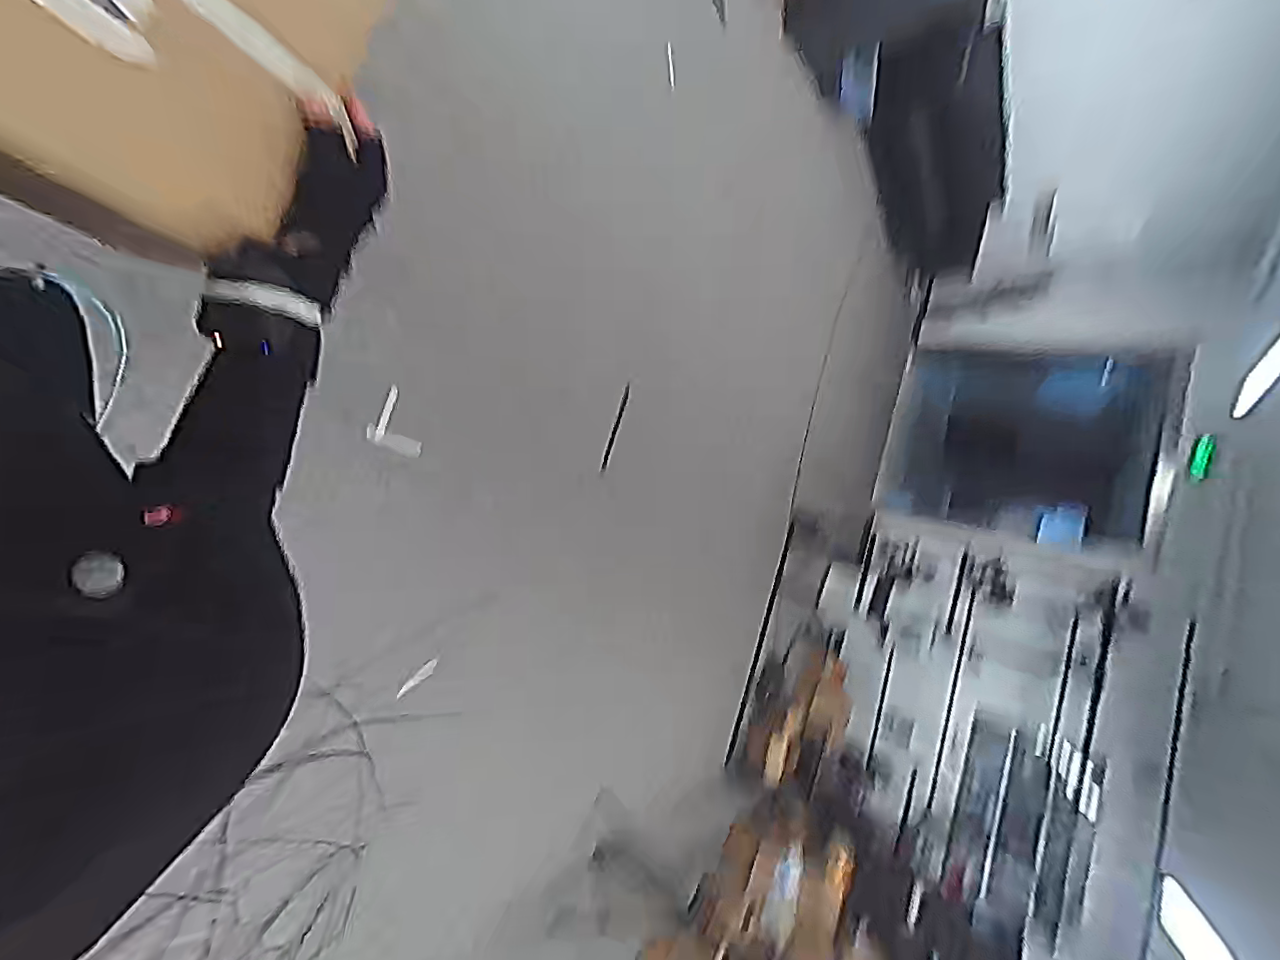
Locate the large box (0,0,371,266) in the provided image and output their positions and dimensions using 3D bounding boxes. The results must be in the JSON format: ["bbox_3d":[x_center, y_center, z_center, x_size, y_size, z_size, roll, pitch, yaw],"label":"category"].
[{"bbox_3d":[-0.484,-0.401,0.373,0.408,0.320,0.320,26,85,-57],"label":"large box"}]
